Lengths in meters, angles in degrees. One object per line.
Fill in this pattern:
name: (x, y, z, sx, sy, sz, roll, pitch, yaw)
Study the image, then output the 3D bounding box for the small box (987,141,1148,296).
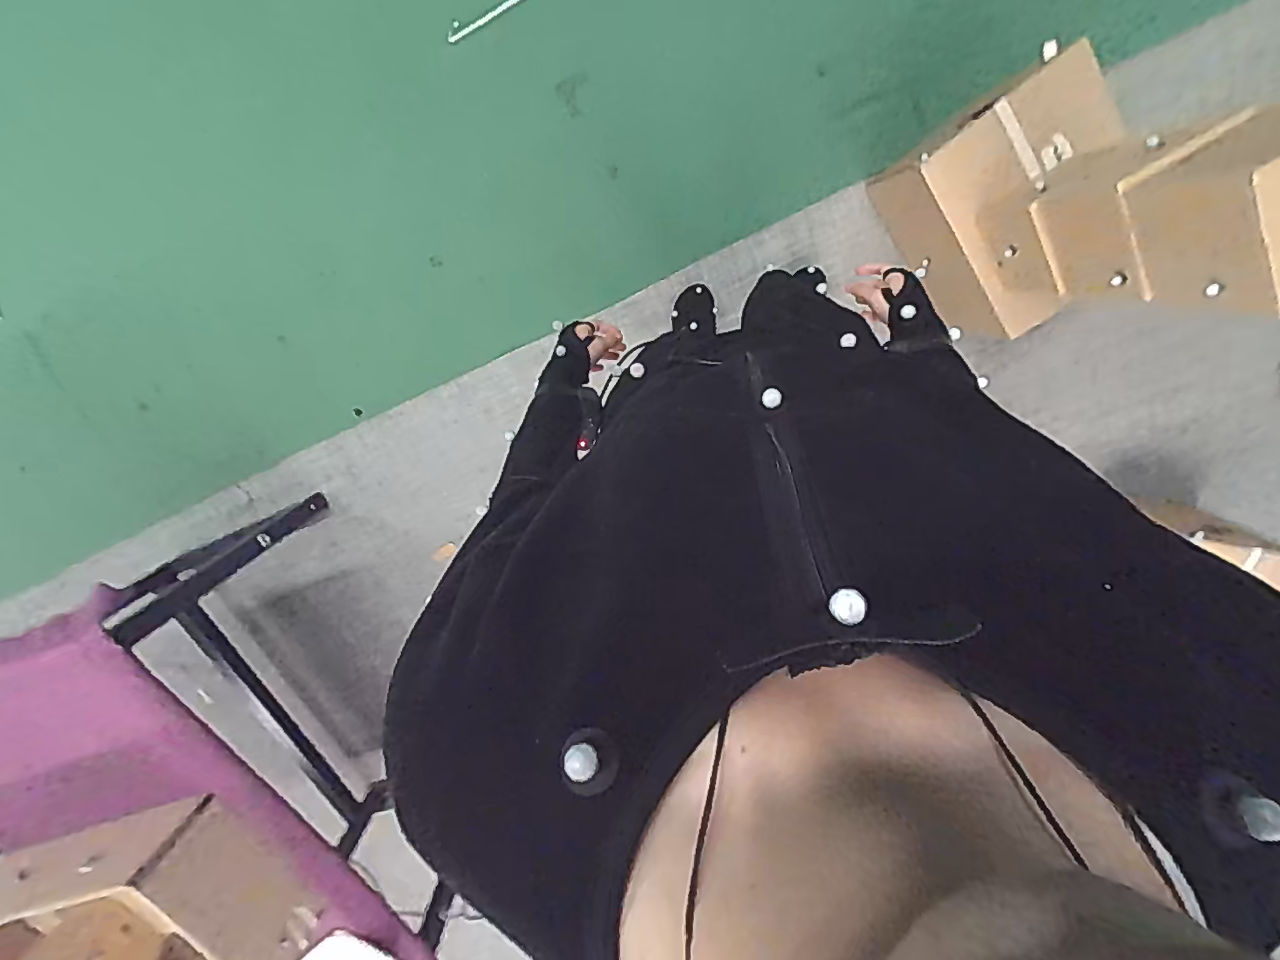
small box: (0.741, -0.440, 0.935, 0.179, 0.176, 0.168, -30, 108, 13)

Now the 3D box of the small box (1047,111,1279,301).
small box: (0.741, -0.381, 0.785, 0.168, 0.176, 0.179, -28, 108, 13)

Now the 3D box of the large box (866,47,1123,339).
large box: (0.761, -0.565, 1.150, 0.320, 0.320, 0.408, -36, 104, 14)
